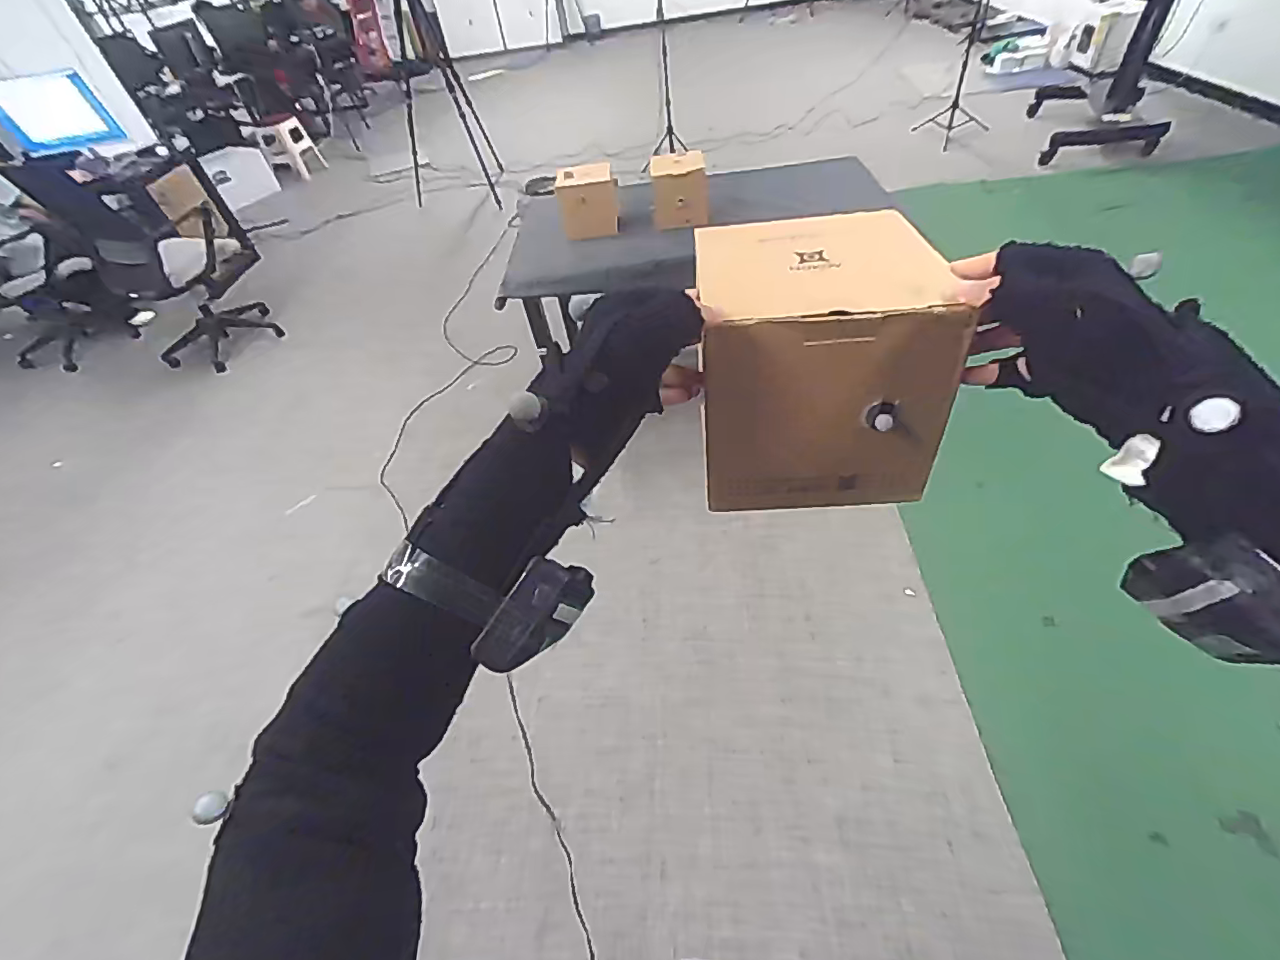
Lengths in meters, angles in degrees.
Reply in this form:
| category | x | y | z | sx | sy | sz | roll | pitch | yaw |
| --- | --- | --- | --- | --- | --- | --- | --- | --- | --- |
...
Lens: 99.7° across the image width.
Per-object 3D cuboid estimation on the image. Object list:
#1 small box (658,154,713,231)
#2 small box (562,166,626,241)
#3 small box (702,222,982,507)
| category | x | y | z | sx | sy | sz | roll | pitch | yaw |
| --- | --- | --- | --- | --- | --- | --- | --- | --- | --- |
| small box | 0.146 | -0.915 | 1.733 | 0.168 | 0.176 | 0.179 | -4 | 47 | 5 |
| small box | -0.145 | -0.898 | 1.762 | 0.179 | 0.176 | 0.168 | -5 | 47 | 3 |
| small box | 0.136 | -0.091 | 0.442 | 0.168 | 0.176 | 0.179 | -1 | 41 | 6 |
